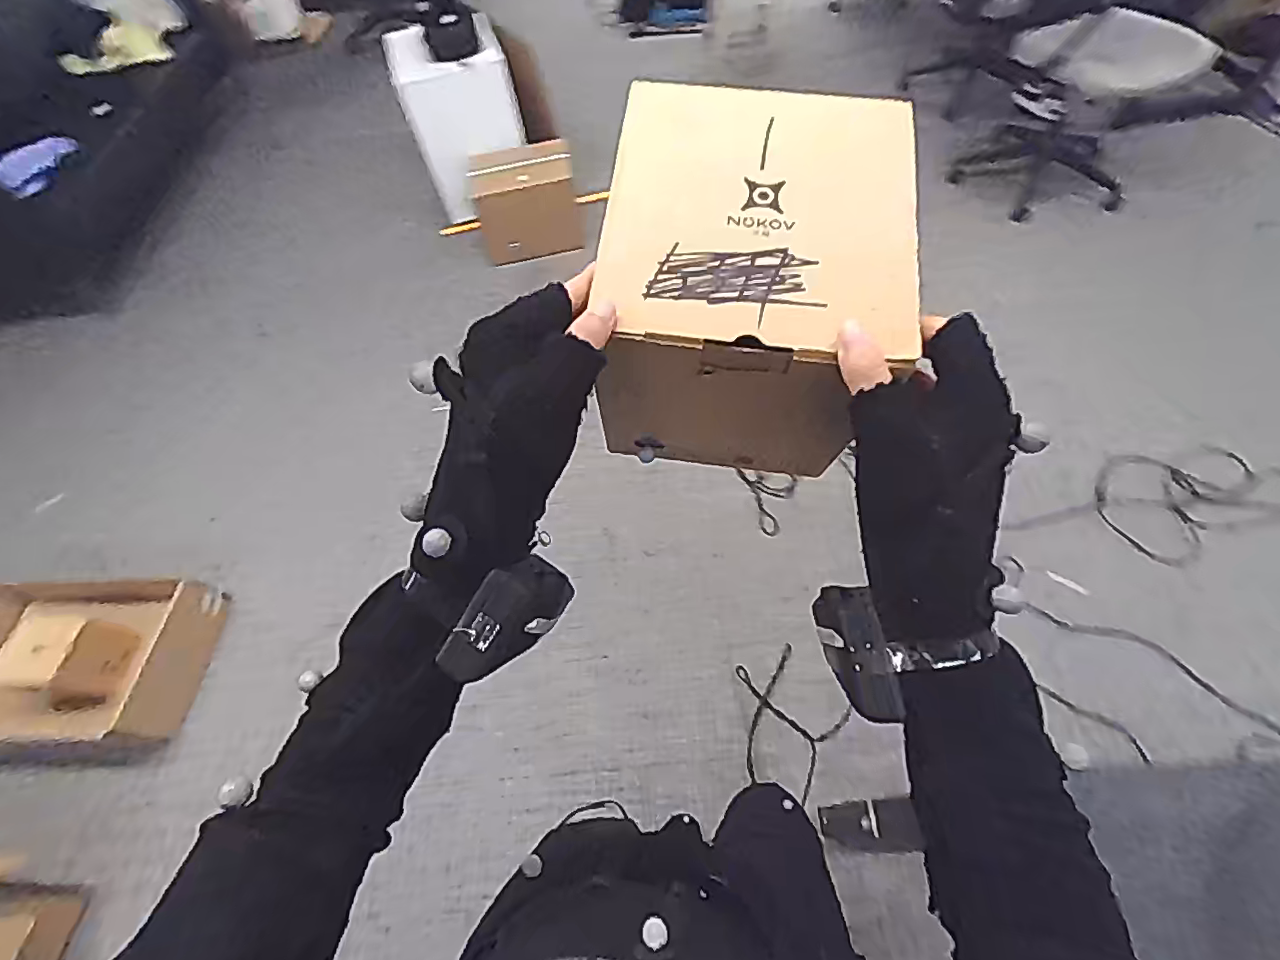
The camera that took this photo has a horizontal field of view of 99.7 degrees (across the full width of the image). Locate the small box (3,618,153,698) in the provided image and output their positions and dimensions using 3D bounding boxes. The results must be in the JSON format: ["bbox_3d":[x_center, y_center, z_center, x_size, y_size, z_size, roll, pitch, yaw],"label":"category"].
[{"bbox_3d":[-1.460,0.471,1.420,0.179,0.176,0.168,-3,57,5],"label":"small box"}]
